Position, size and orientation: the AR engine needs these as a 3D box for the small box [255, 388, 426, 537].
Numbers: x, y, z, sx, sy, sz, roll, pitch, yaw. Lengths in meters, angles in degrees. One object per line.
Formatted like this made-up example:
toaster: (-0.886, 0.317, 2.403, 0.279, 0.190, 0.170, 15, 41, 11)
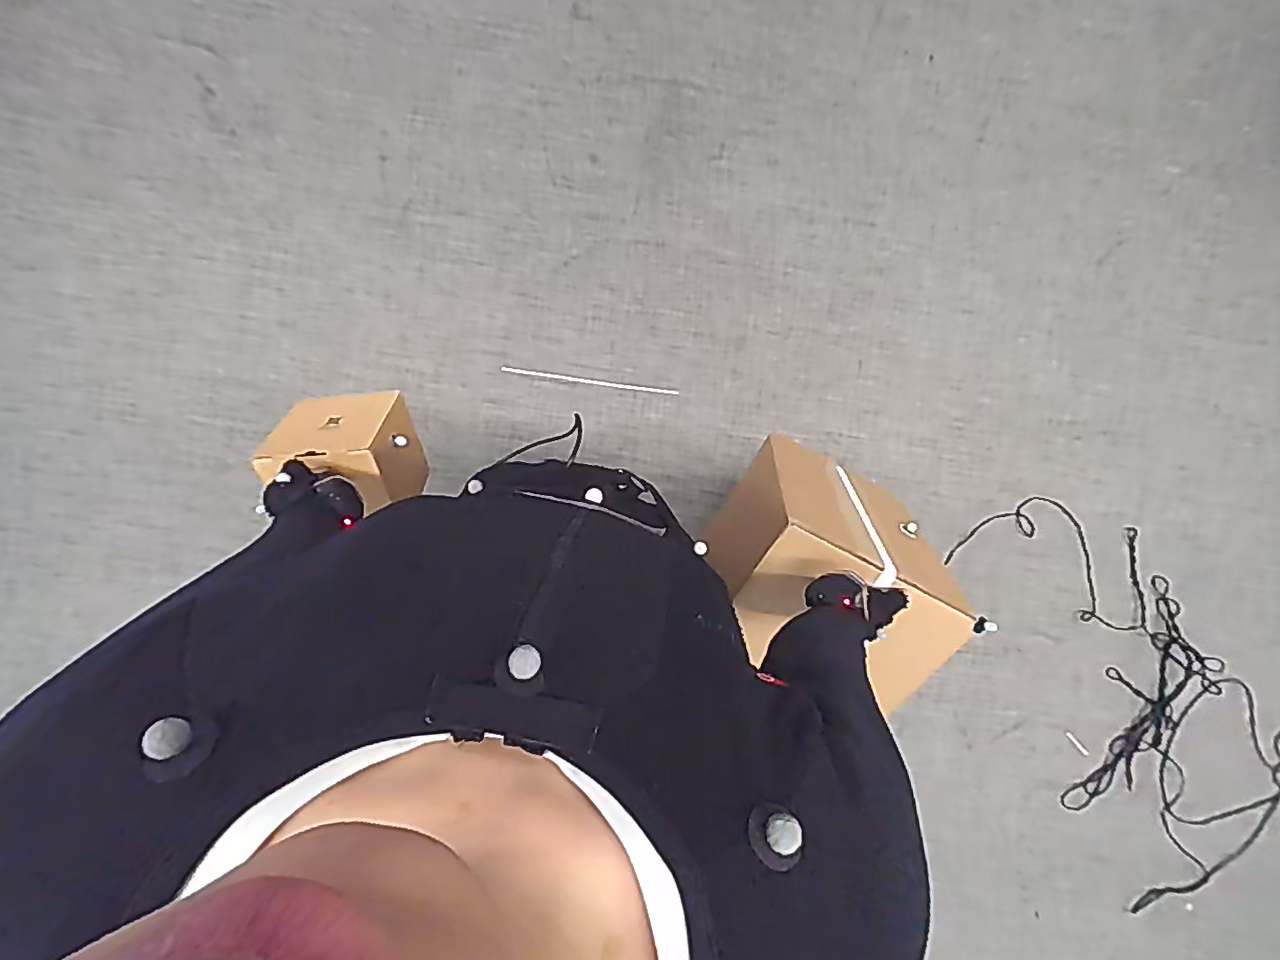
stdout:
small box: (-0.463, -0.030, 0.873, 0.168, 0.179, 0.176, -5, 129, -2)
